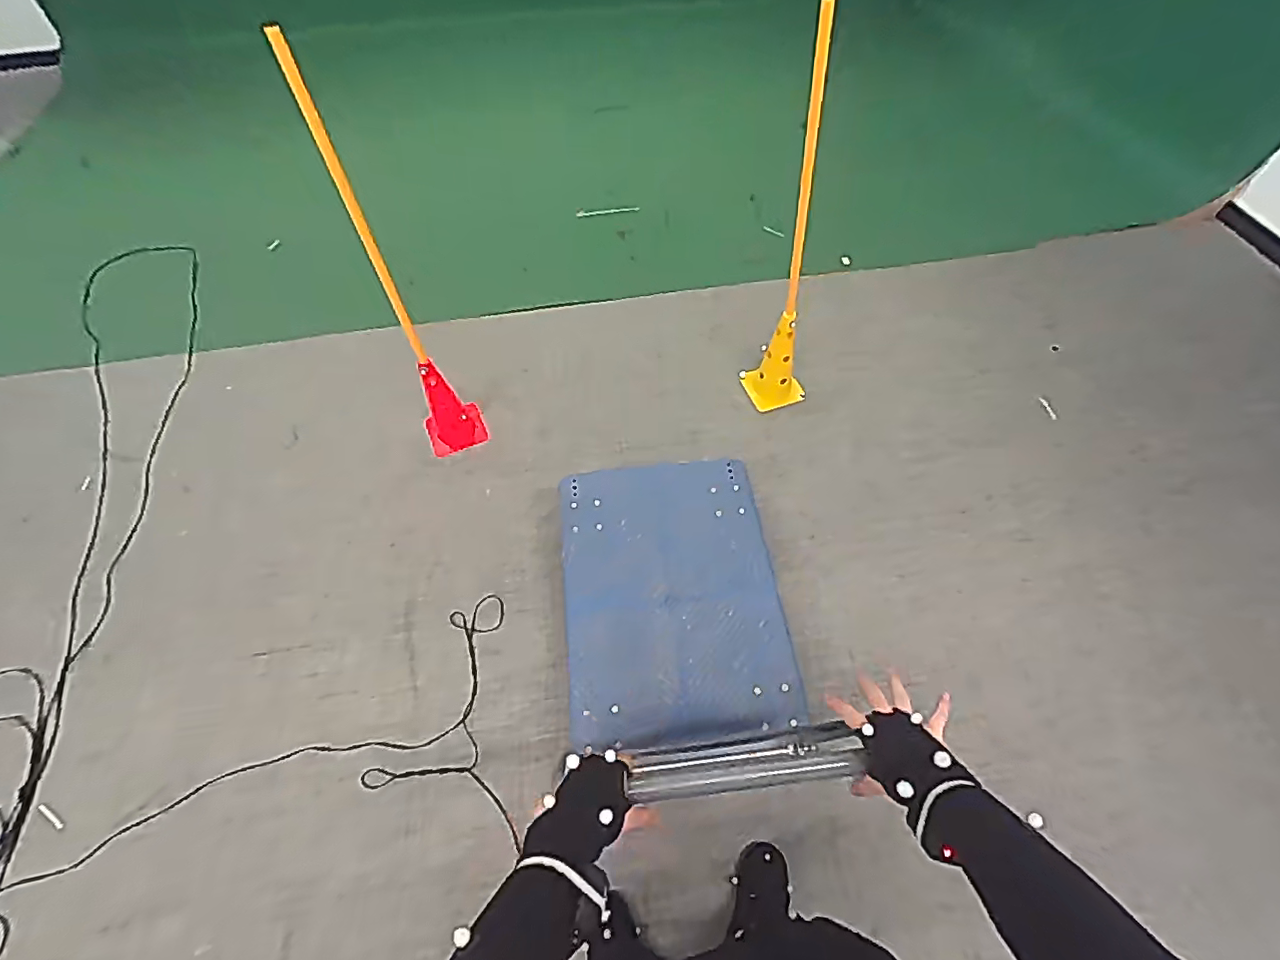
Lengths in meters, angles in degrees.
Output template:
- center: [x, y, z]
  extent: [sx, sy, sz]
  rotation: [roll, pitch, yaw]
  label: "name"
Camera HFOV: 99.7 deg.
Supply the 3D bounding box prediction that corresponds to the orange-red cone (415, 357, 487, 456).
- center: [-0.677, -0.274, 1.826]
  extent: [0.199, 0.360, 0.198]
  rotation: [-22, 59, -10]
  label: "orange-red cone"
